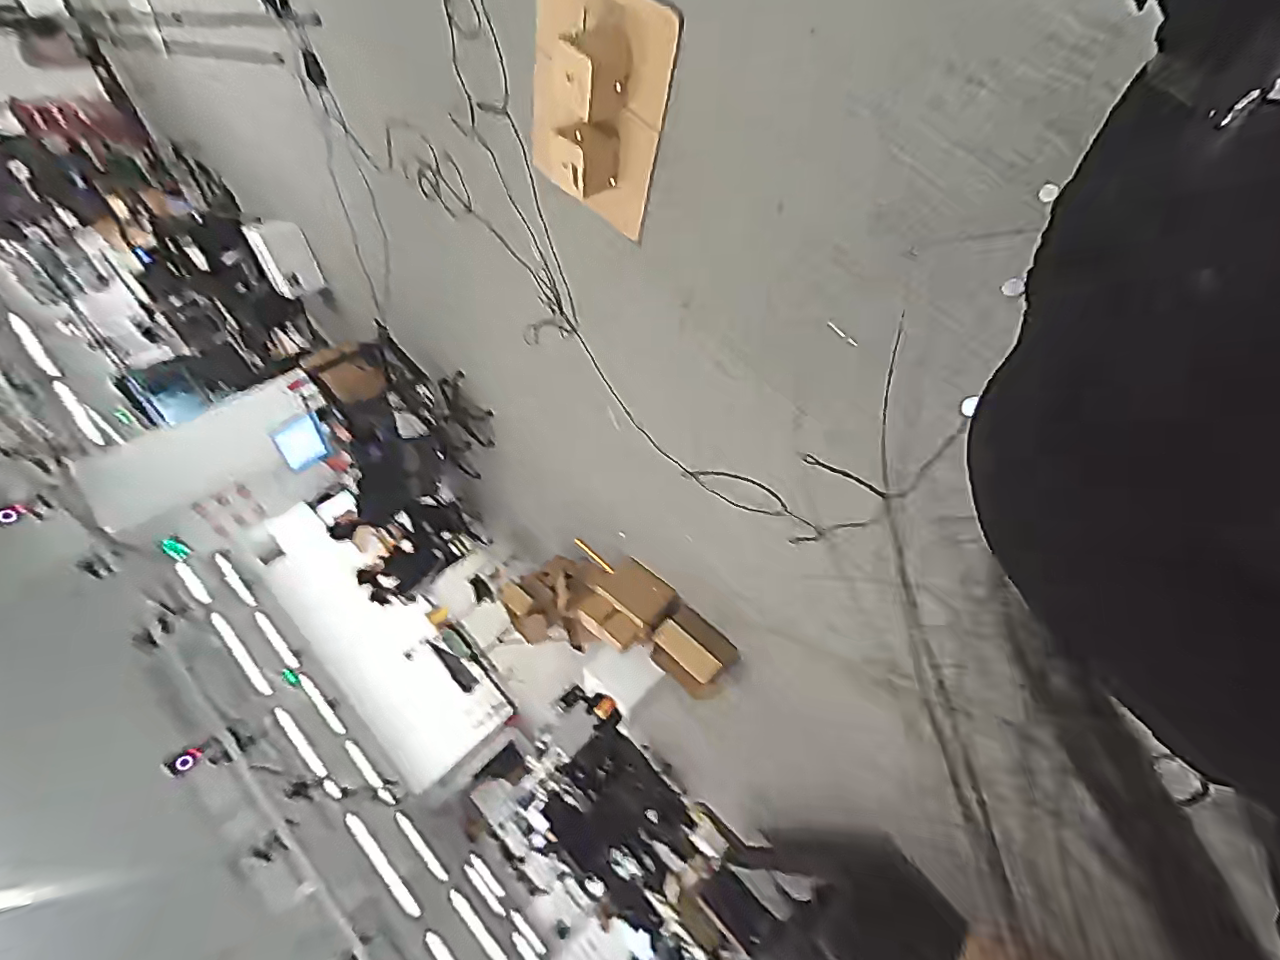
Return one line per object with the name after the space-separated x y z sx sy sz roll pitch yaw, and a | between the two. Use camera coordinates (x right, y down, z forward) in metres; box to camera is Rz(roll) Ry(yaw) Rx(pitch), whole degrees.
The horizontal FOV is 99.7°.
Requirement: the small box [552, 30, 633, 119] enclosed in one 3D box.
-0.151 -1.261 1.676 0.179 0.176 0.168 43 150 16 | small box

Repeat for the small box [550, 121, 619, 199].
-0.193 -1.117 1.878 0.179 0.176 0.168 41 148 20 | small box
